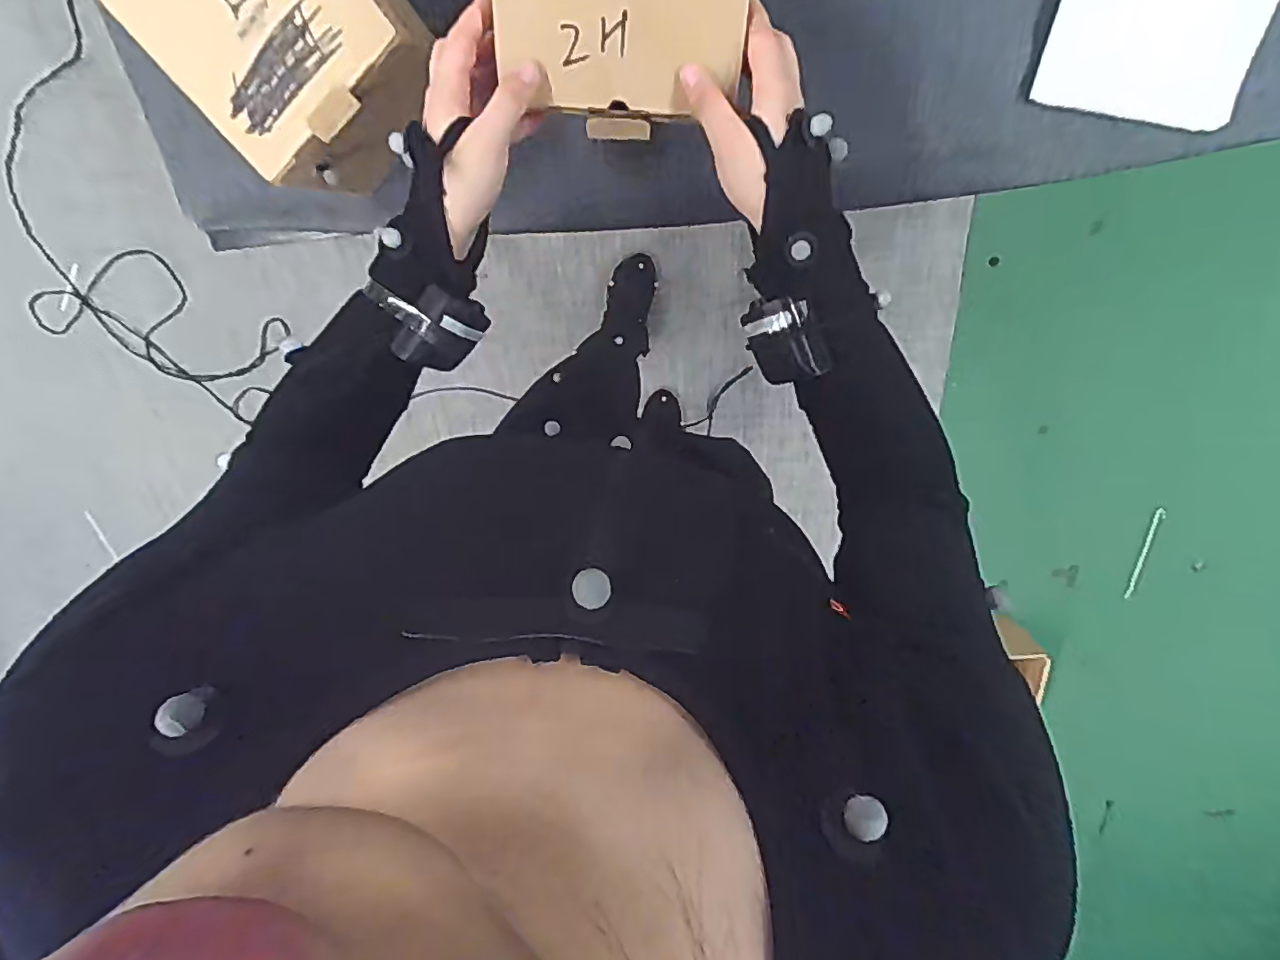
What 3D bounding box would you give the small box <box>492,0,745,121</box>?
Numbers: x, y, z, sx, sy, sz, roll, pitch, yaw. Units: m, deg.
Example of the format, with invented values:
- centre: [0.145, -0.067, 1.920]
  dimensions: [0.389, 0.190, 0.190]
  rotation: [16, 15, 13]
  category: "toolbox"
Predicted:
- centre: [-0.013, -0.377, 0.399]
  dimensions: [0.168, 0.176, 0.179]
  rotation: [2, 123, -2]
  category: "small box"
